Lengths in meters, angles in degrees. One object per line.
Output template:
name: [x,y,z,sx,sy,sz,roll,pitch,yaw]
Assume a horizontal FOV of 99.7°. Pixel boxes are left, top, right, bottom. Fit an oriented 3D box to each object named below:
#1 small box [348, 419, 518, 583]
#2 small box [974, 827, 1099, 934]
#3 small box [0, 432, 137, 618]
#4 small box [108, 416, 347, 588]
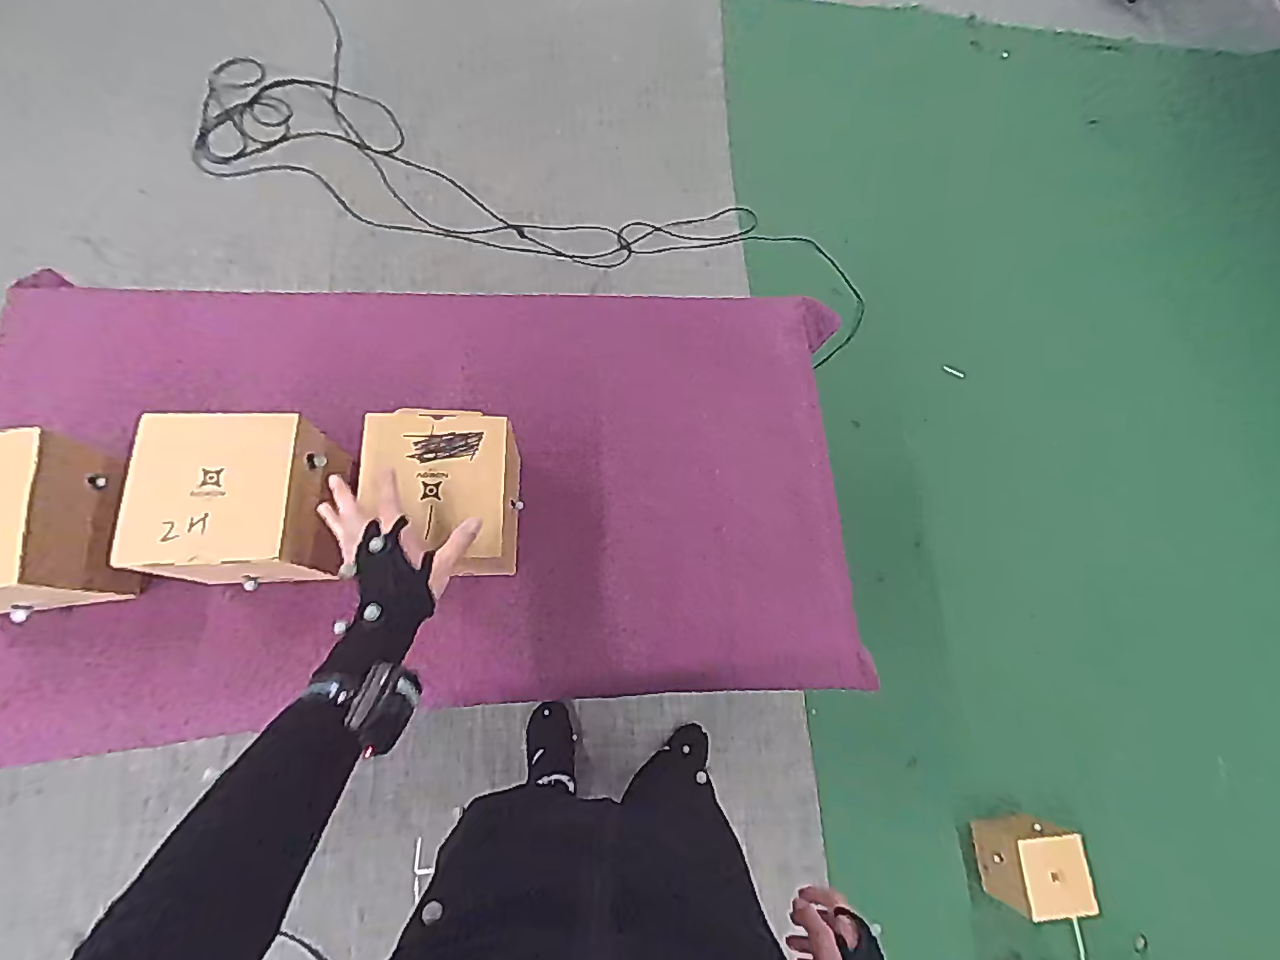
small box: [-0.251,0.036,0.702,0.168,0.176,0.179,1,74,-7]
small box: [0.966,0.982,1.340,0.179,0.176,0.168,0,72,-8]
small box: [-0.730,0.059,0.631,0.168,0.176,0.179,-6,74,-9]
small box: [-0.485,0.035,0.671,0.168,0.176,0.179,0,73,-8]
